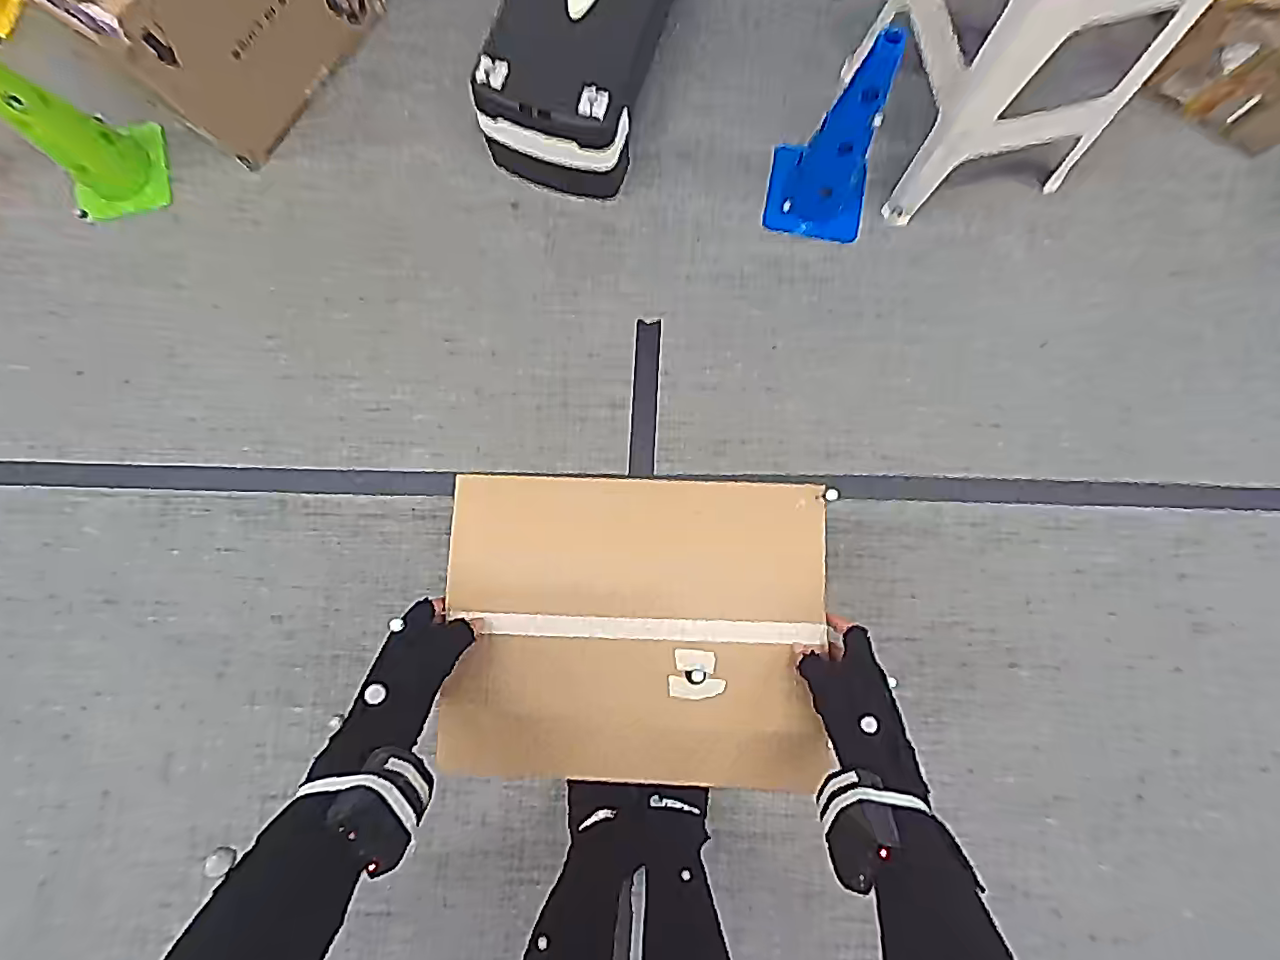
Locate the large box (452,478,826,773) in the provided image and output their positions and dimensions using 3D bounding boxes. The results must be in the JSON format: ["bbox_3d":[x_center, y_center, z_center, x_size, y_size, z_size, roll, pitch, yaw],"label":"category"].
[{"bbox_3d":[0.001,0.174,0.737,0.408,0.320,0.320,2,83,2],"label":"large box"}]
